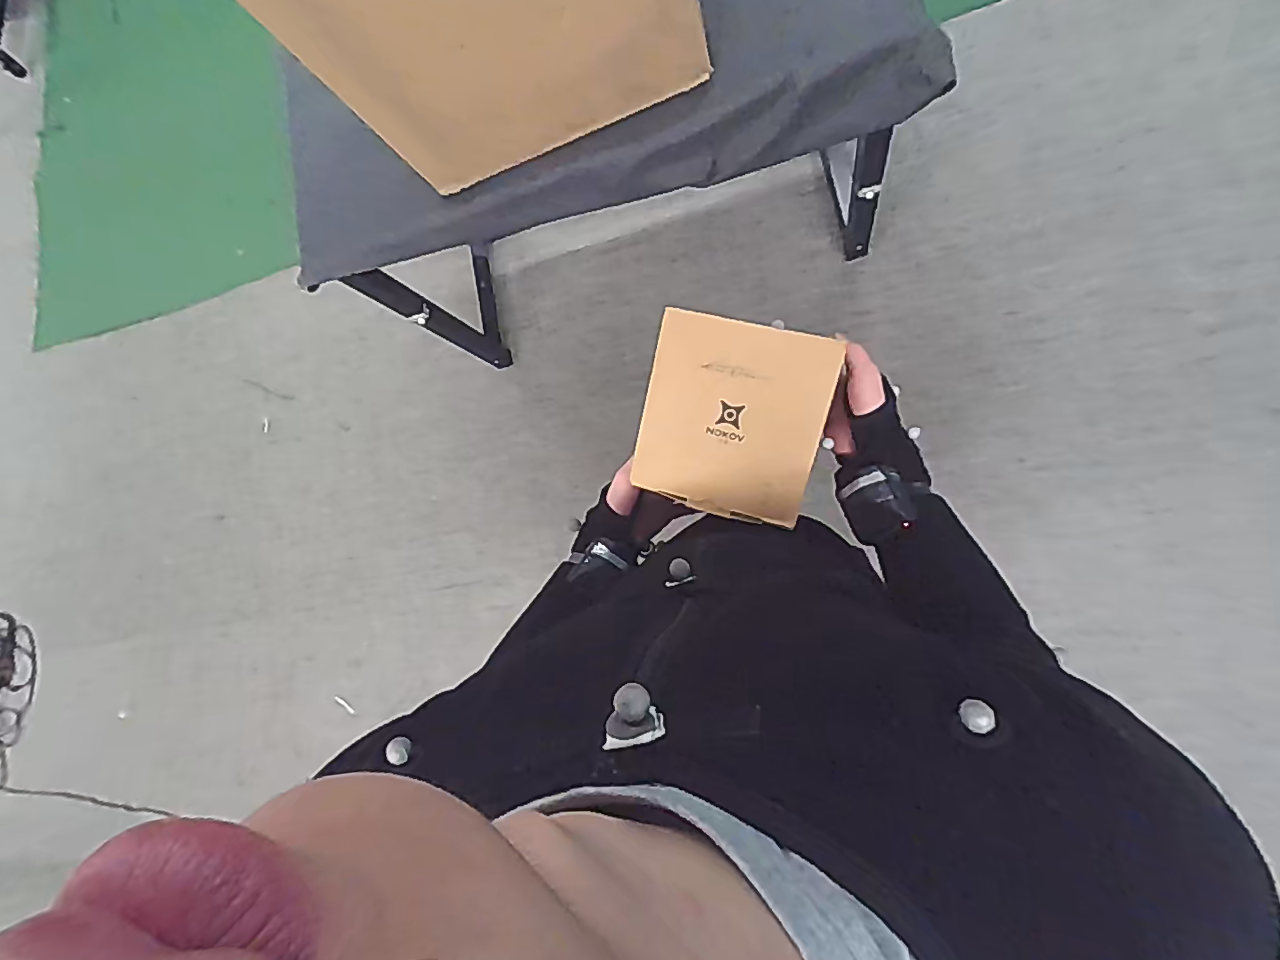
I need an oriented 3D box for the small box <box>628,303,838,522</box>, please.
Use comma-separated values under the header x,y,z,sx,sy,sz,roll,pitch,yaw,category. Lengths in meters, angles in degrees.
x,y,z,sx,sy,sz,roll,pitch,yaw,category
0.101,-0.076,0.579,0.168,0.176,0.179,15,103,12,small box
